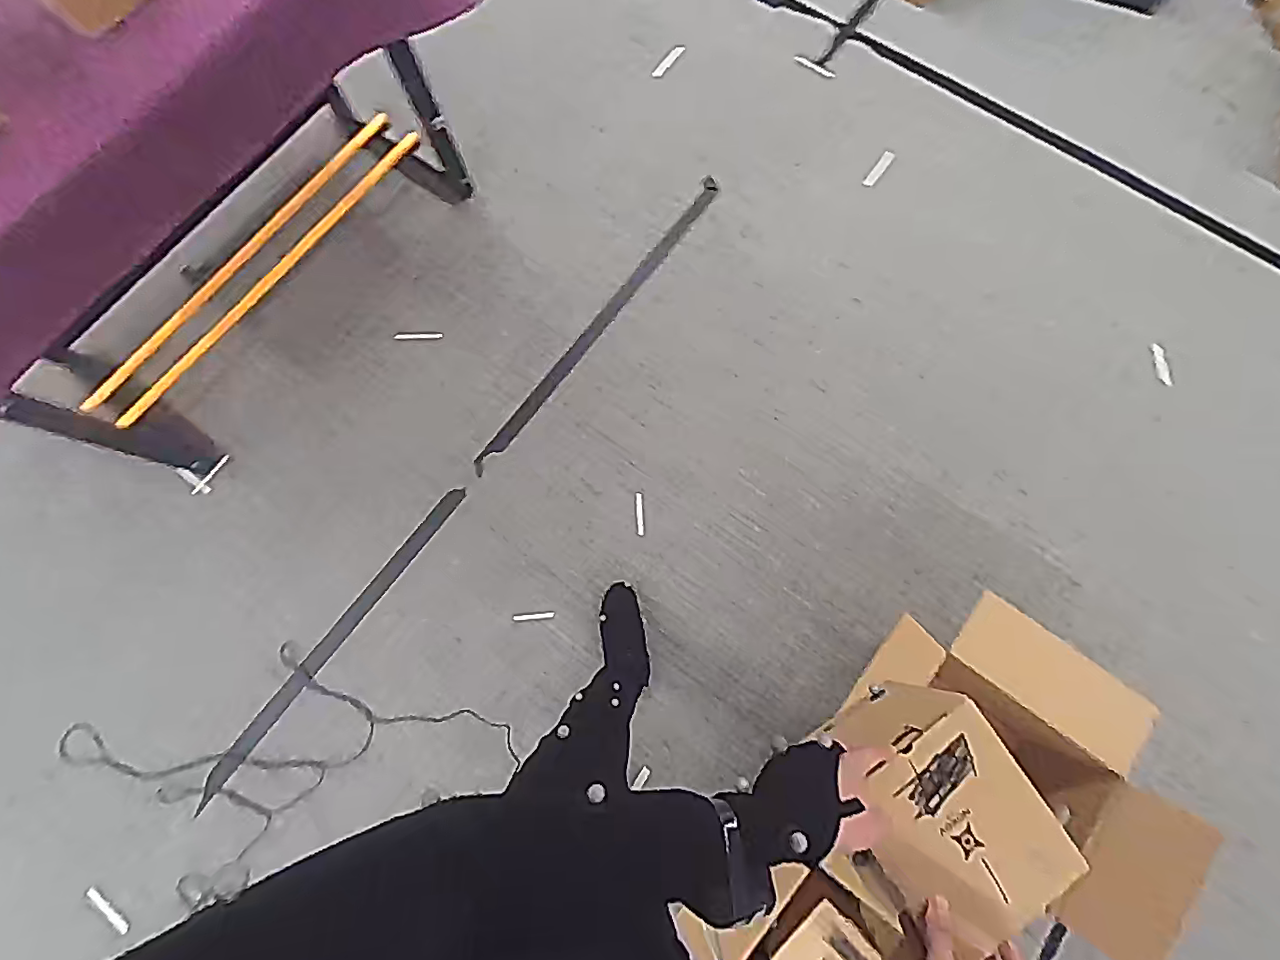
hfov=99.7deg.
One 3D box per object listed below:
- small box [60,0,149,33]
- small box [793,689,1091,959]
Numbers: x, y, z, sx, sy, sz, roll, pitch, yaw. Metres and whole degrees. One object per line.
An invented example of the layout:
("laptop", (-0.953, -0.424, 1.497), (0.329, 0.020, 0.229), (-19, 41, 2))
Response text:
("small box", (-0.961, -0.921, 0.908), (0.168, 0.176, 0.179), (39, 82, 9))
("small box", (0.291, 0.339, 0.567), (0.168, 0.176, 0.179), (-30, 80, -9))
